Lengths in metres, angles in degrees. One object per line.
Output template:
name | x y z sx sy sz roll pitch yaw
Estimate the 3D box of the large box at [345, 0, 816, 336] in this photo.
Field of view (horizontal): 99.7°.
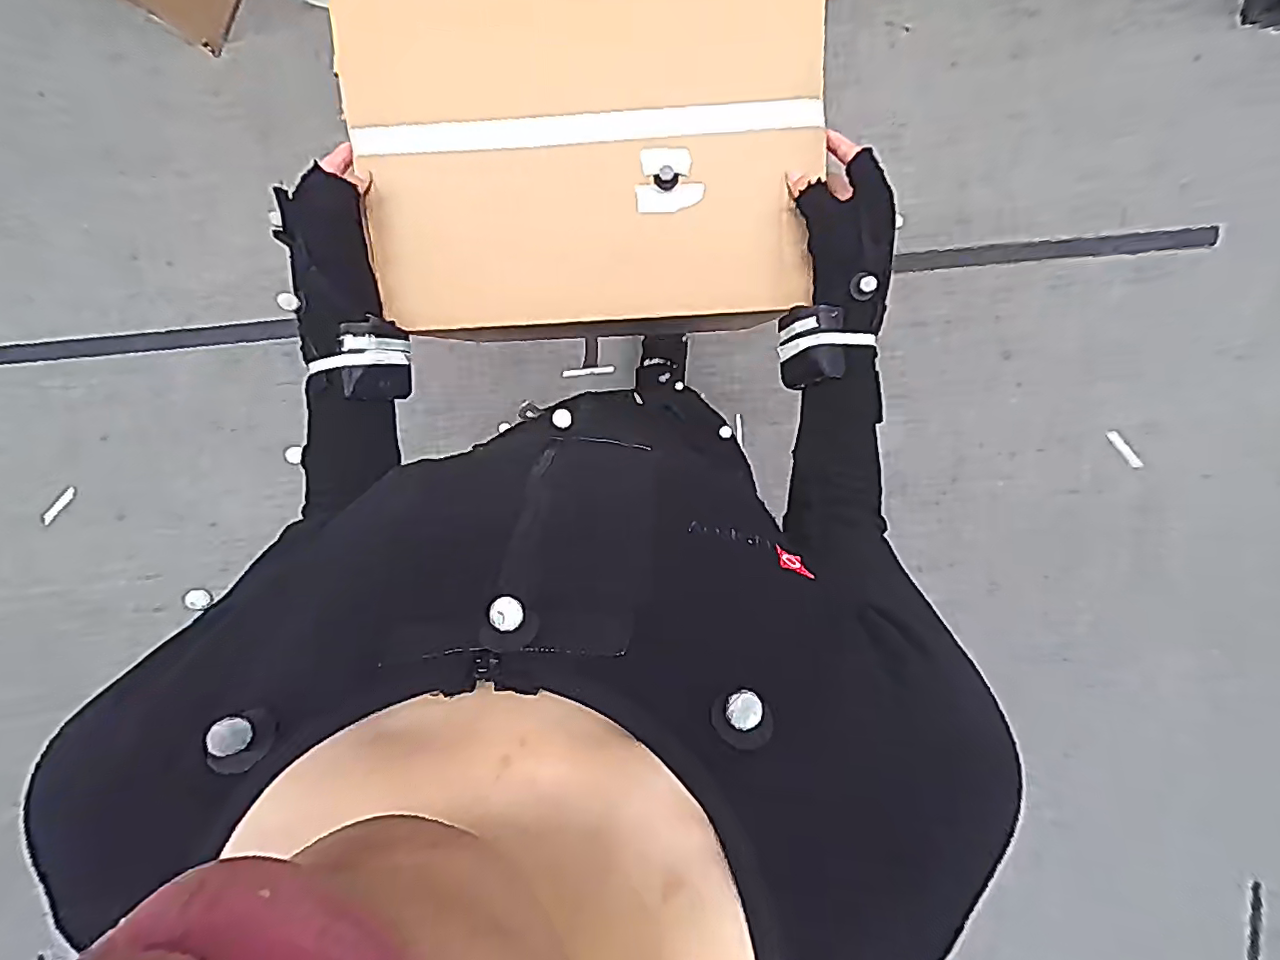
large box | -0.047 -0.346 0.620 0.408 0.320 0.320 -3 103 0
